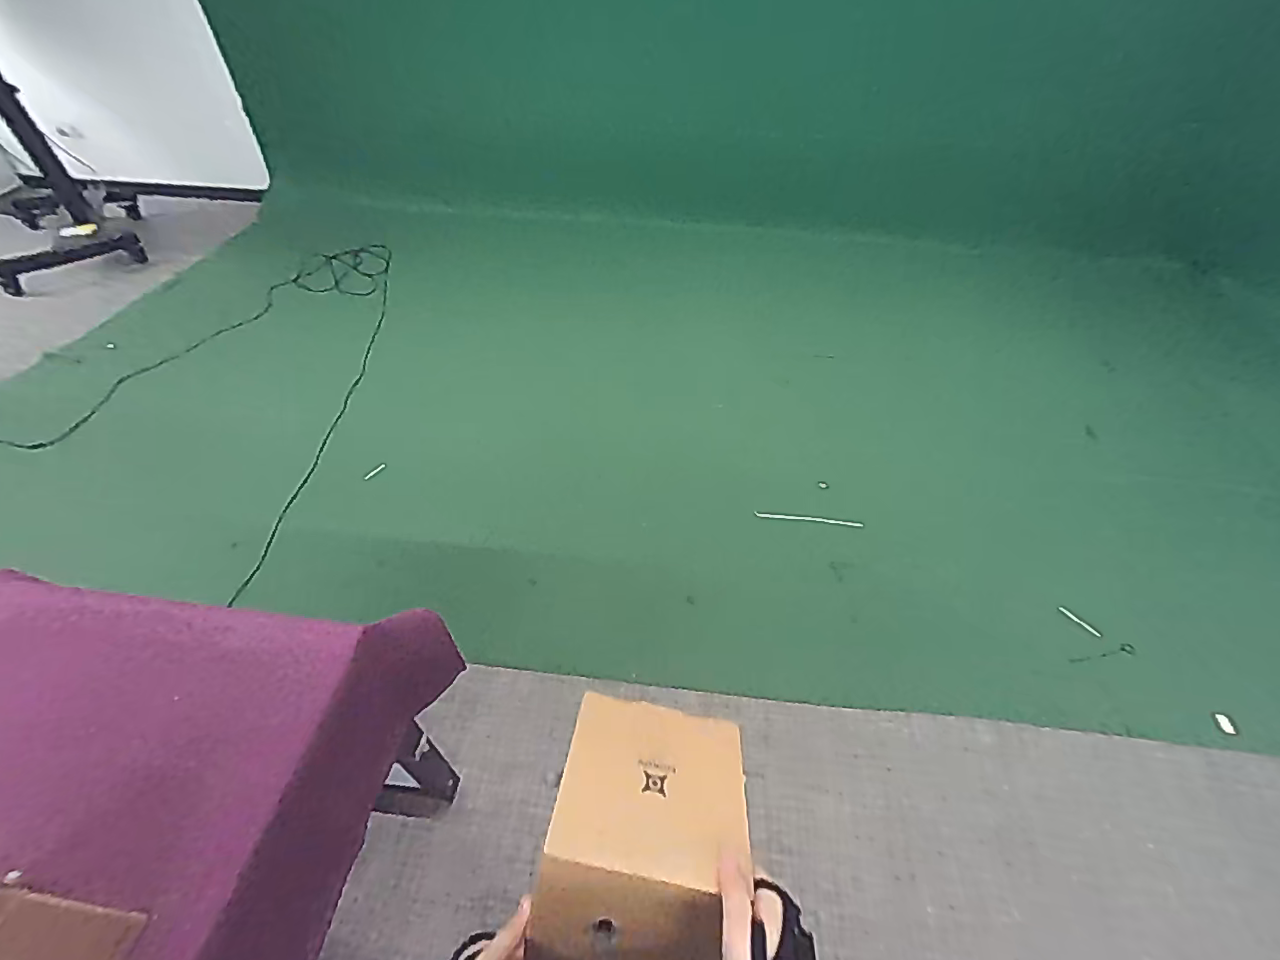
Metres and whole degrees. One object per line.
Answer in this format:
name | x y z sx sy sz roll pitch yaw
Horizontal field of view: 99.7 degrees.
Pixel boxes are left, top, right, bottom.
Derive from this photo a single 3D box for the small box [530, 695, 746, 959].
small box | -0.003 0.349 0.523 0.168 0.176 0.179 12 20 1
